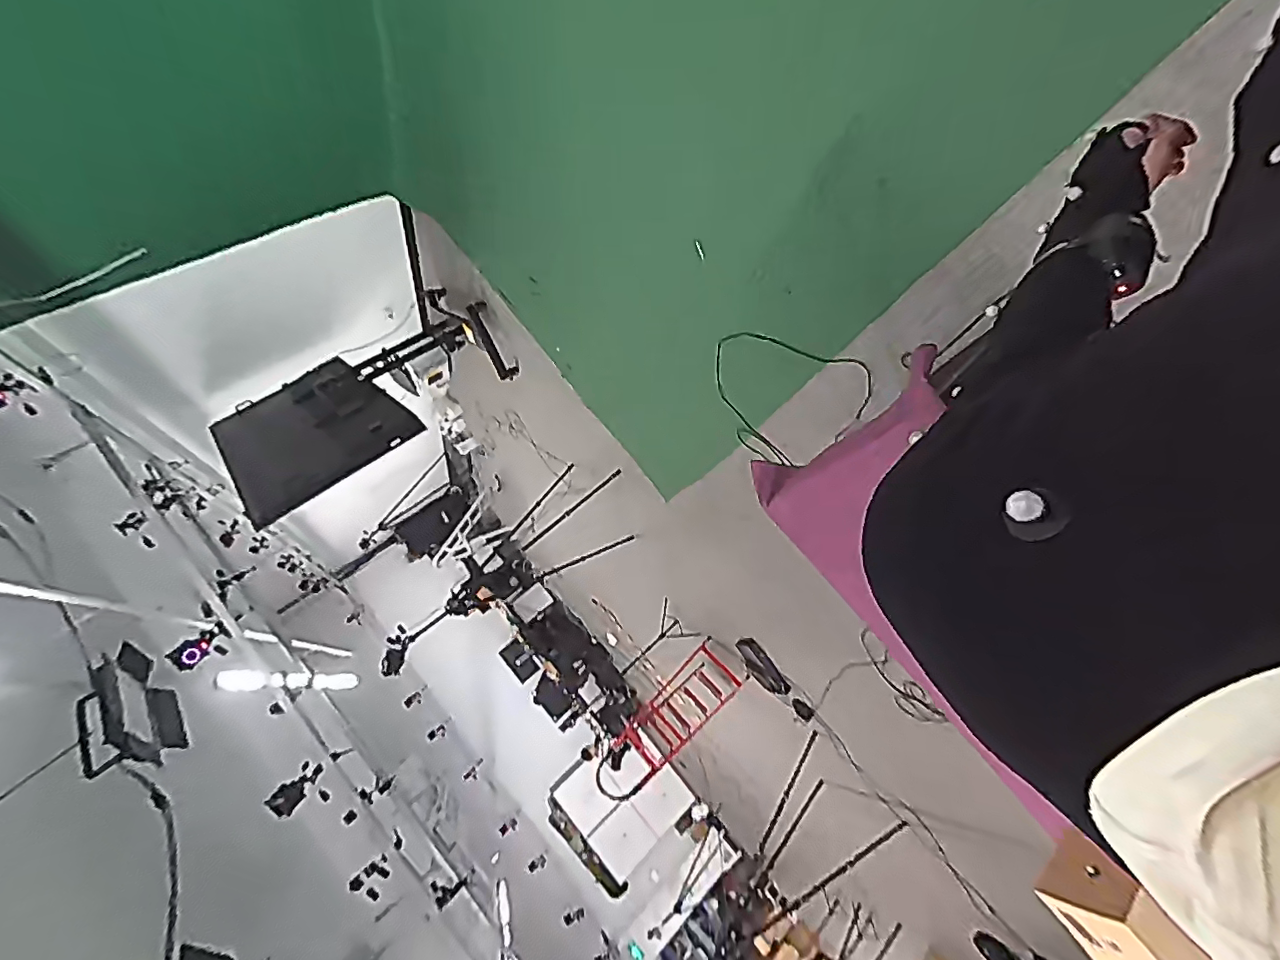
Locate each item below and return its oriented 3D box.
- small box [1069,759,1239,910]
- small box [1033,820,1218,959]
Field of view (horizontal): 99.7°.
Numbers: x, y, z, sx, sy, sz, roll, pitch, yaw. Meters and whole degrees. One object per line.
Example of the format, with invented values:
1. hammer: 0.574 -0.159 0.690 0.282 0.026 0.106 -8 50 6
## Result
1. small box: 1.023 0.687 1.075 0.168 0.176 0.179 49 156 7
2. small box: 0.903 0.779 1.010 0.168 0.176 0.179 49 155 7
